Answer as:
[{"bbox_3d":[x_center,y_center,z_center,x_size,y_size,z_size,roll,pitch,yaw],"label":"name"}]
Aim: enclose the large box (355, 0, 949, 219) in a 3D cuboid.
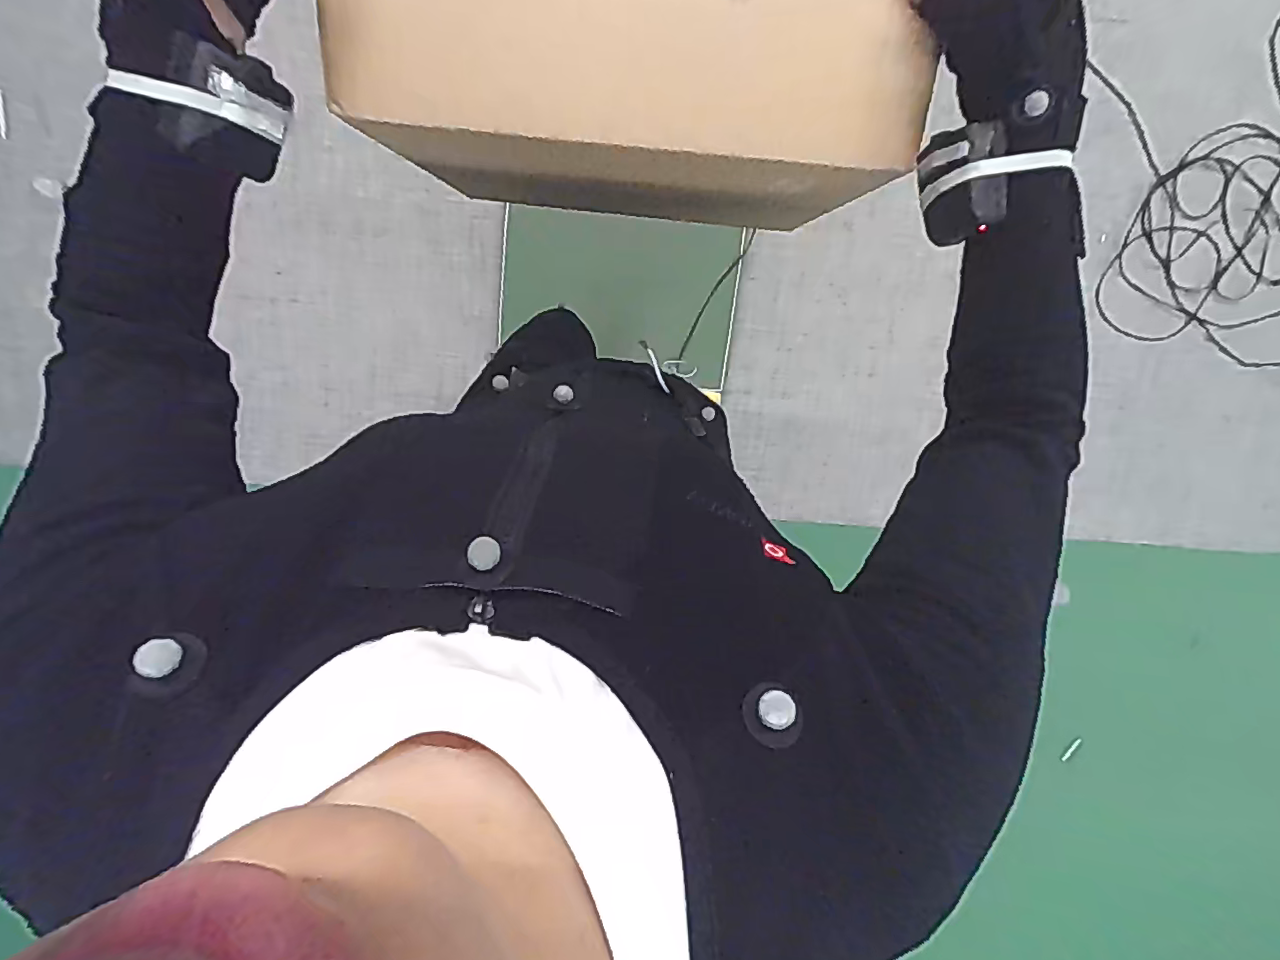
[{"bbox_3d":[0.011,-0.434,0.479,0.408,0.320,0.320,4,109,-3],"label":"large box"}]
